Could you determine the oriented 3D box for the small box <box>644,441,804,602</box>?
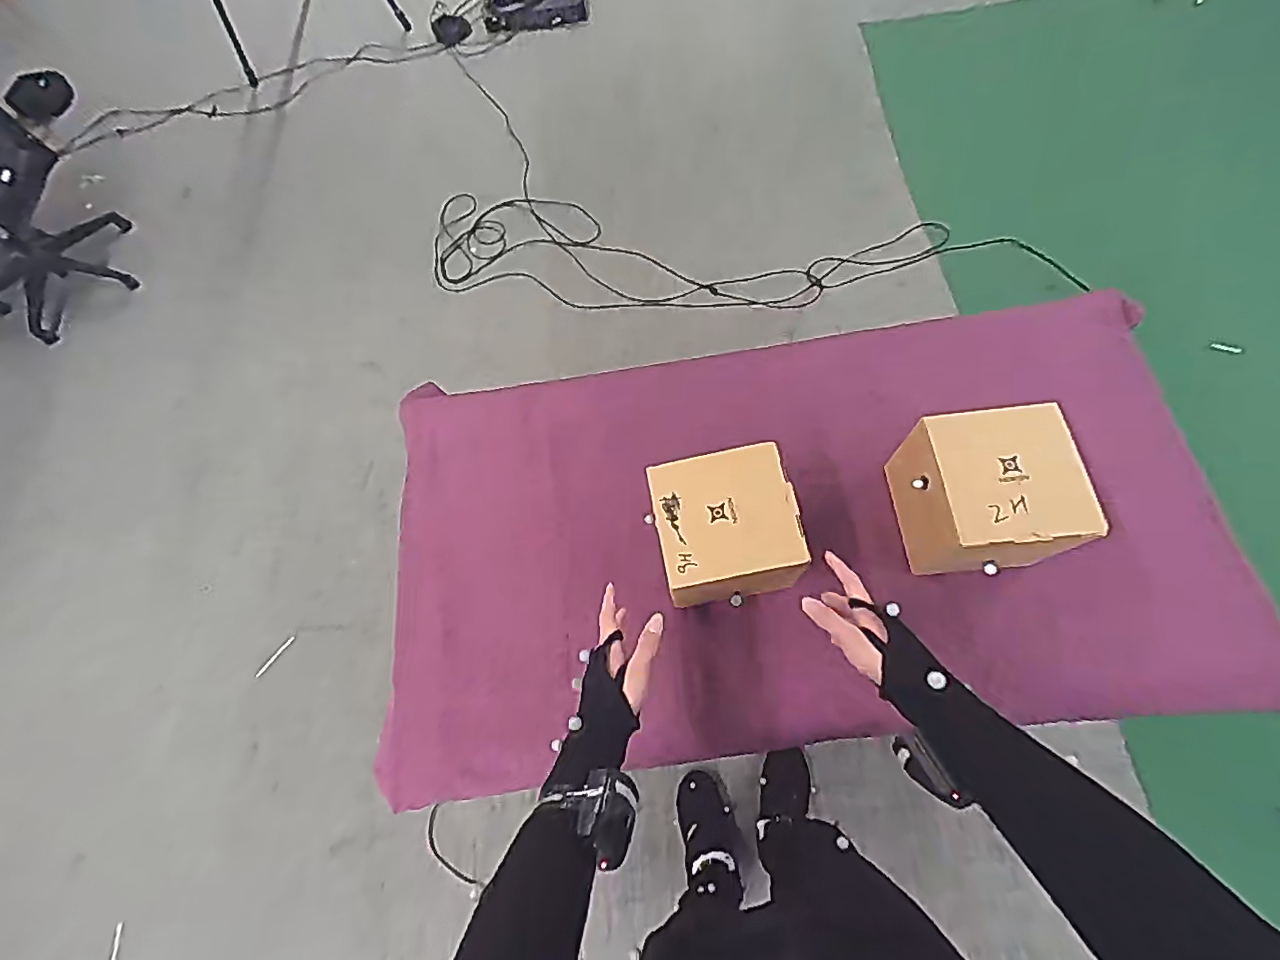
[{"bbox_3d":[0.108,0.066,0.753,0.179,0.176,0.168,-11,68,2],"label":"small box"}]

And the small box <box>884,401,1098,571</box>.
[{"bbox_3d":[0.450,0.015,0.732,0.168,0.176,0.179,-6,69,5],"label":"small box"}]
